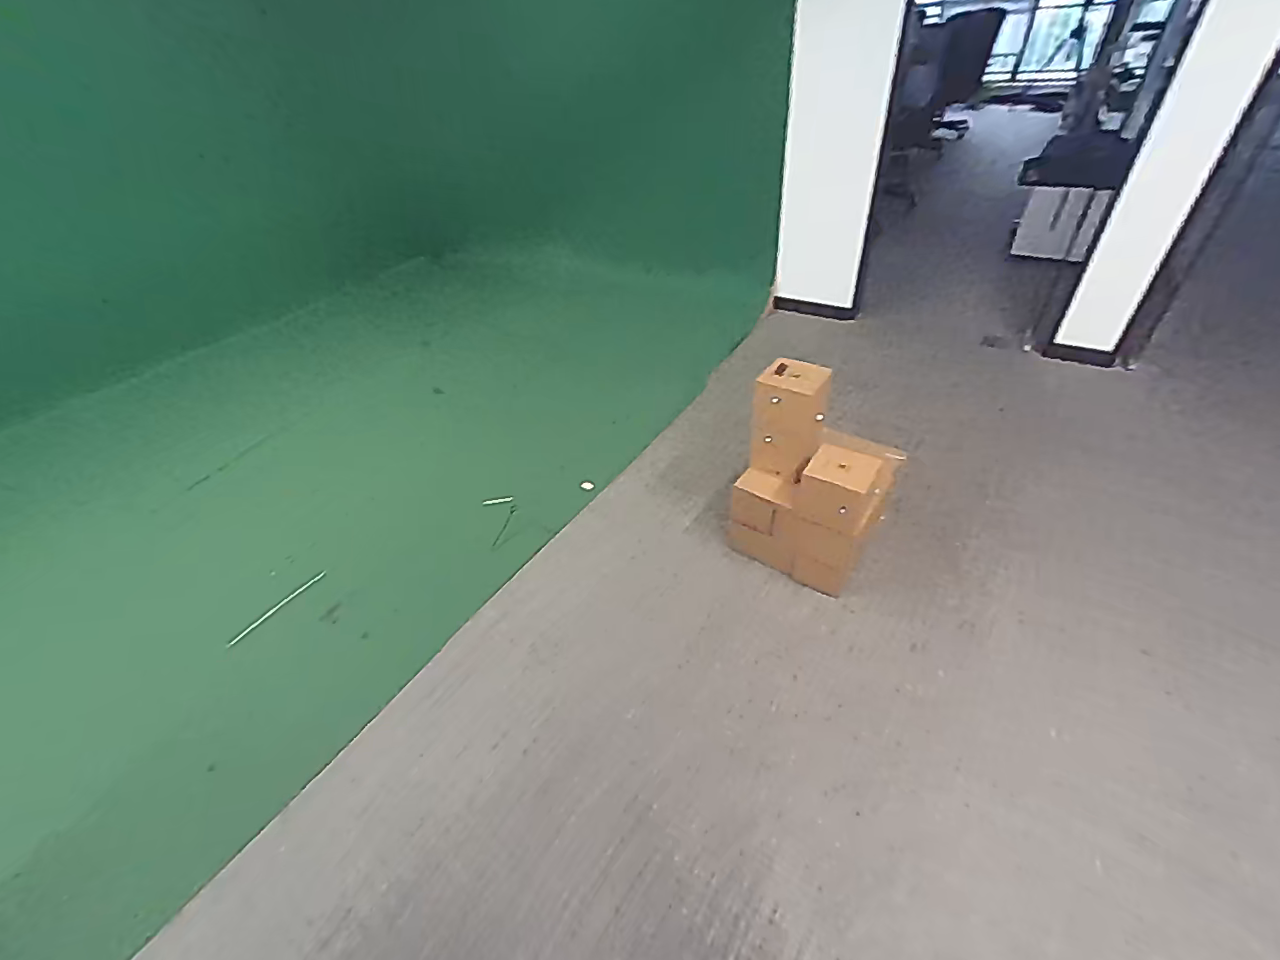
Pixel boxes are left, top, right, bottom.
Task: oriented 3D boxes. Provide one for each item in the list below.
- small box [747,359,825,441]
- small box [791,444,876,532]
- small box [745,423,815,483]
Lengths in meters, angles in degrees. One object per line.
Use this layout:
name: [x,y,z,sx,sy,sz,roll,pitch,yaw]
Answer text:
small box: [0.438,-0.242,1.647,0.179,0.176,0.168,23,48,29]
small box: [0.559,0.027,1.573,0.179,0.176,0.168,21,47,28]
small box: [0.450,-0.120,1.757,0.168,0.176,0.179,22,47,30]
